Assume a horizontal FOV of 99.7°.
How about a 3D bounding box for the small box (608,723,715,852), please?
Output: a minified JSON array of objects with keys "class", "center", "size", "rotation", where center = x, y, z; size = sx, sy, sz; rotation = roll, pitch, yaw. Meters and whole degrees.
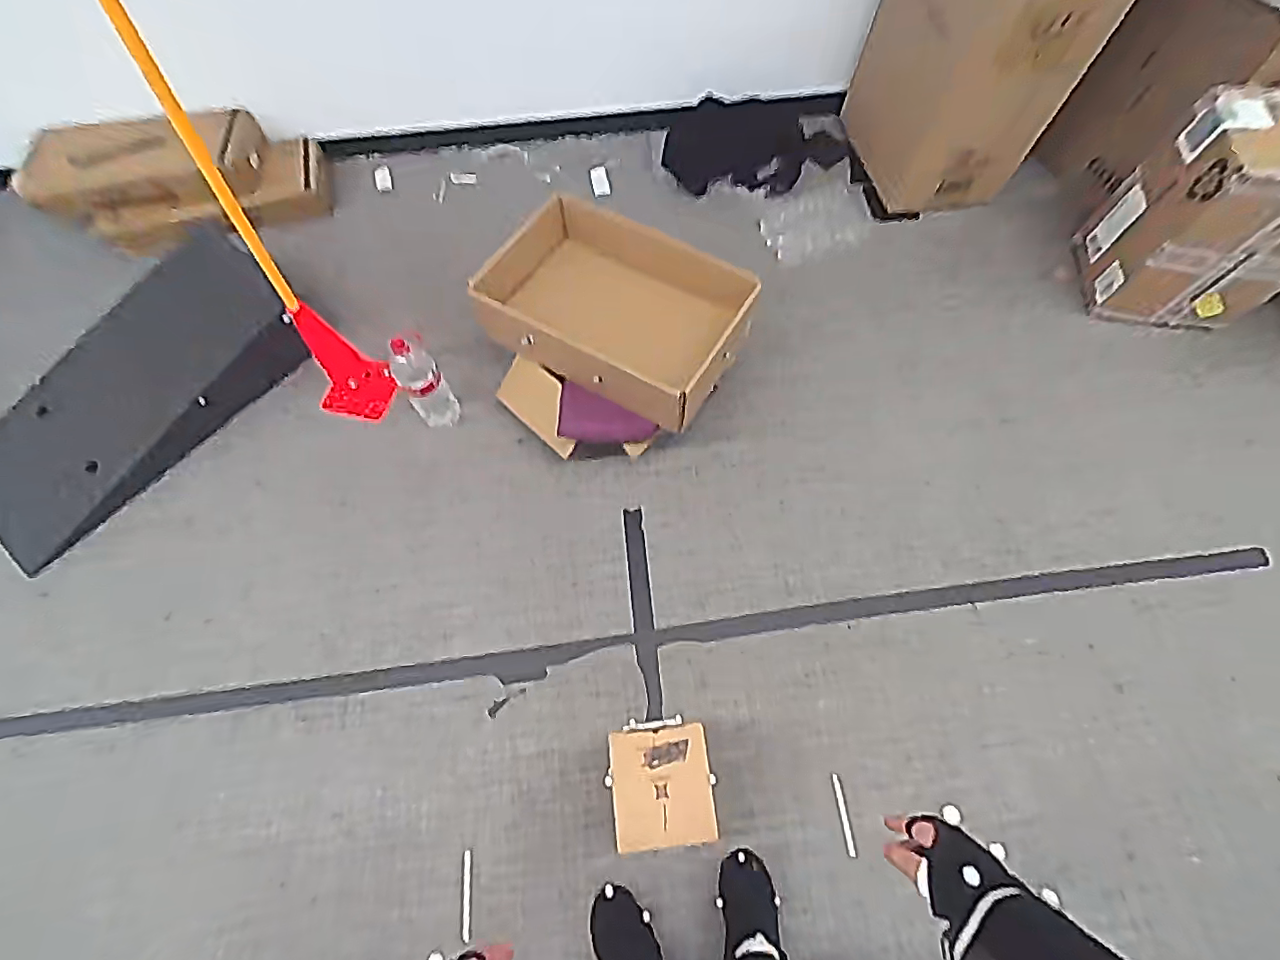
[{"class":"small box","center":[0.032,0.540,0.970],"size":[0.168,0.176,0.179],"rotation":[-6,66,-2]}]
